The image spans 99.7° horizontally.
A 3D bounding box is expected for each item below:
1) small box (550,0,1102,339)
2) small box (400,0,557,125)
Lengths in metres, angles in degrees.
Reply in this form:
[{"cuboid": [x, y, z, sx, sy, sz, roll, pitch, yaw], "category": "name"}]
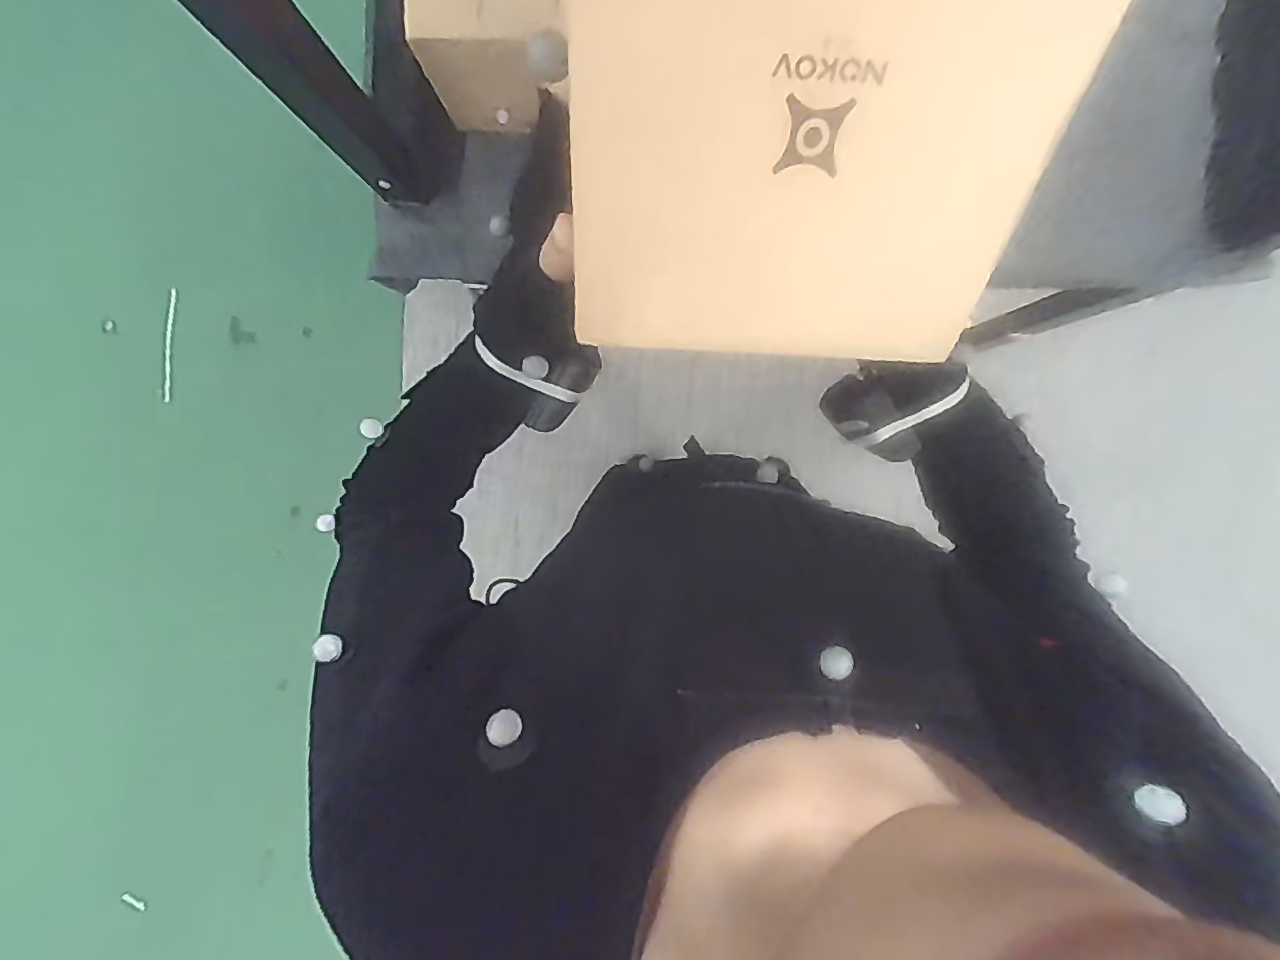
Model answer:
[{"cuboid": [0.055, -0.184, 0.234, 0.168, 0.176, 0.179, 3, 132, -2], "category": "small box"}, {"cuboid": [-0.167, -0.567, 0.646, 0.168, 0.176, 0.179, 2, 93, 1], "category": "small box"}]
